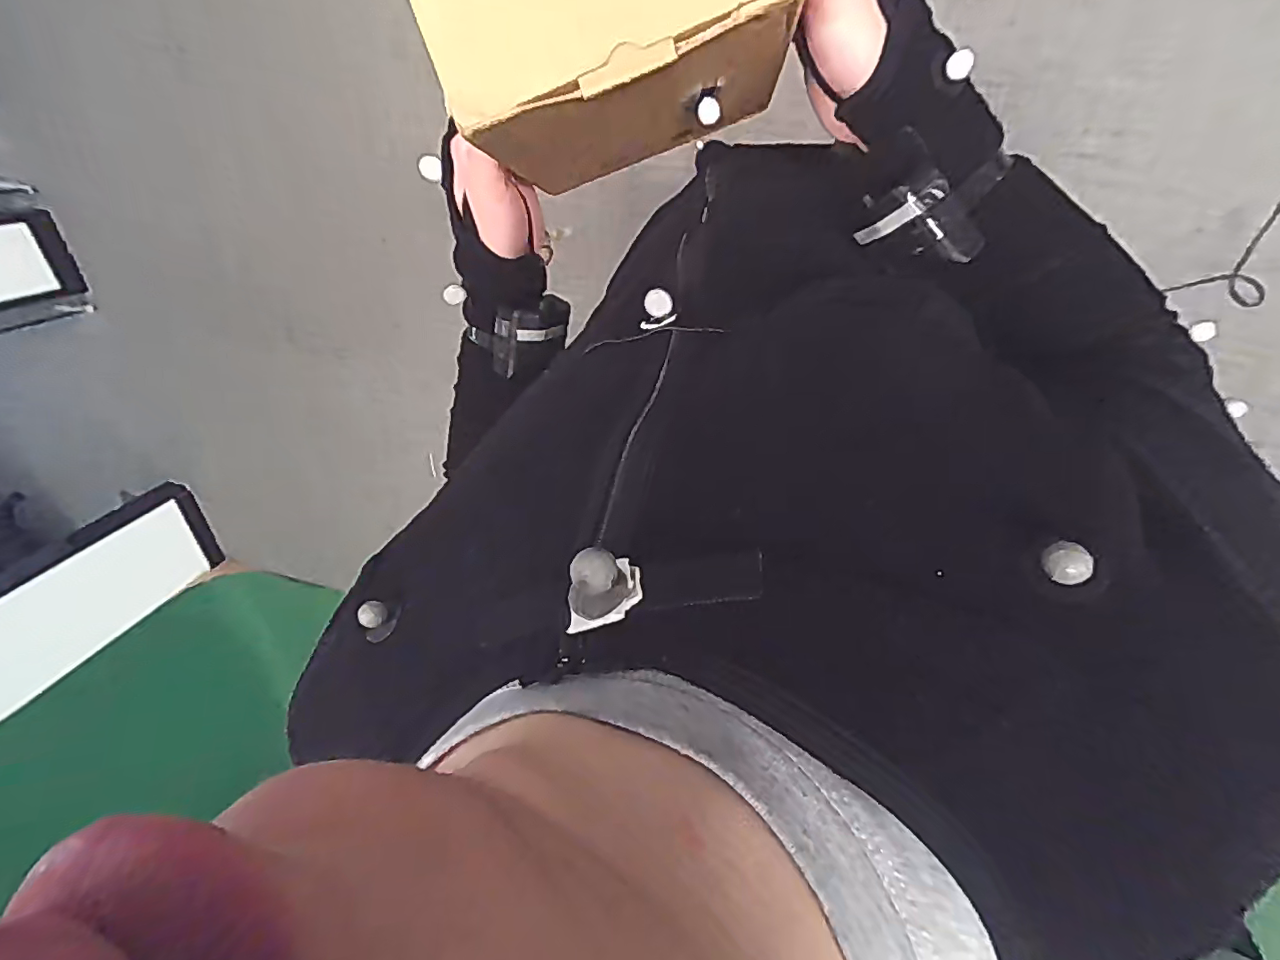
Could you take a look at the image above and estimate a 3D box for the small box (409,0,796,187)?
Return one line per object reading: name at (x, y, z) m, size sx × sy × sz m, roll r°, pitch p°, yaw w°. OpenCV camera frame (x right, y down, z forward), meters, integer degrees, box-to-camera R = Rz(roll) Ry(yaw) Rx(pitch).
small box at (-0.025, -0.283, 0.296) m, size 0.168 × 0.176 × 0.179 m, roll -16°, pitch 105°, yaw 11°
